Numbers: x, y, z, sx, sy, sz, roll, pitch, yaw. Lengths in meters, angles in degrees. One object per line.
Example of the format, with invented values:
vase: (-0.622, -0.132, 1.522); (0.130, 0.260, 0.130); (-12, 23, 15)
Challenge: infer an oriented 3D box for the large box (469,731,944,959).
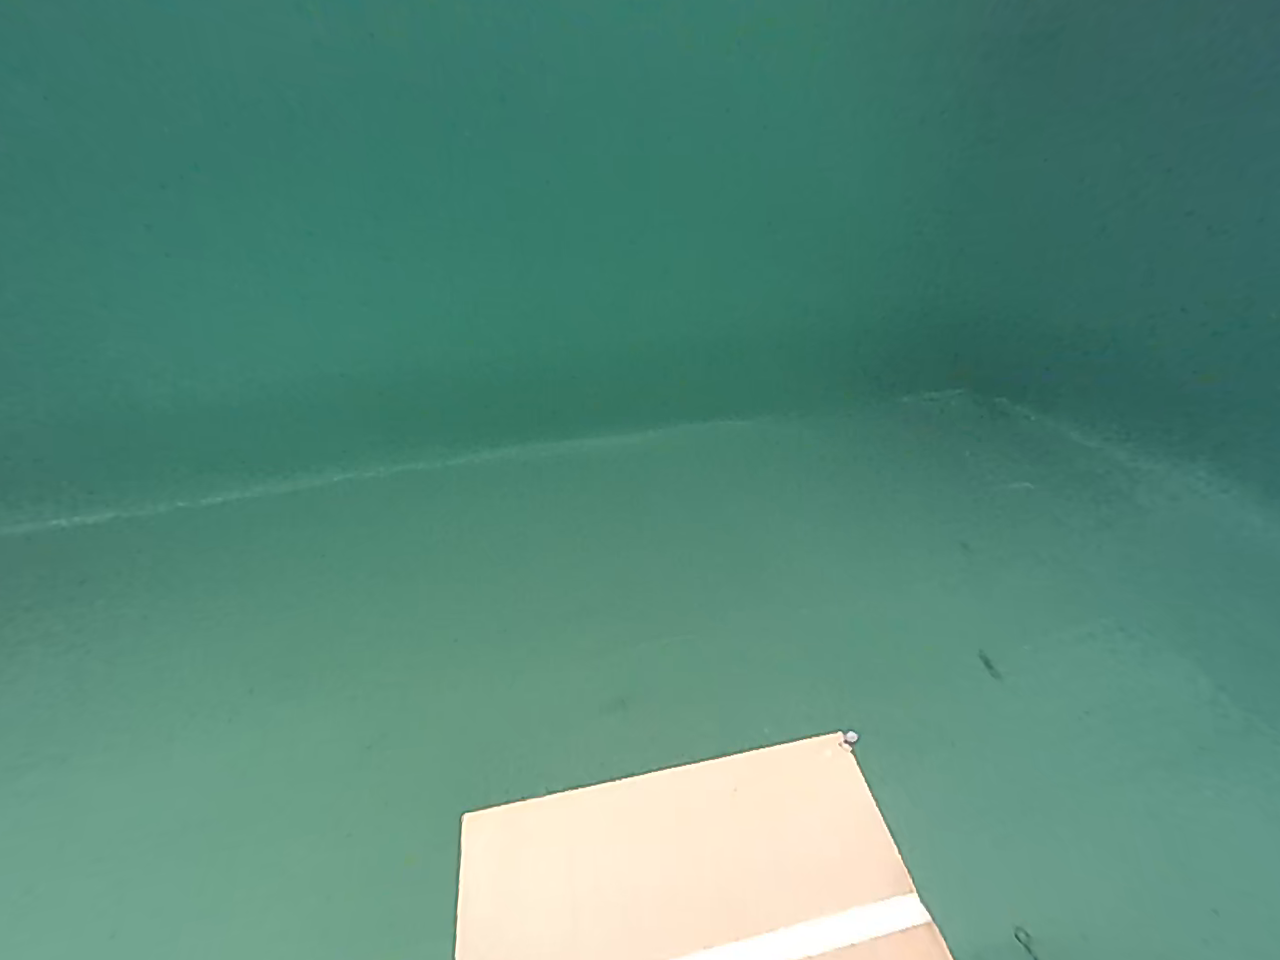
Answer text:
large box: (0.056, 0.518, 0.559); (0.408, 0.320, 0.320); (-8, 43, -8)
